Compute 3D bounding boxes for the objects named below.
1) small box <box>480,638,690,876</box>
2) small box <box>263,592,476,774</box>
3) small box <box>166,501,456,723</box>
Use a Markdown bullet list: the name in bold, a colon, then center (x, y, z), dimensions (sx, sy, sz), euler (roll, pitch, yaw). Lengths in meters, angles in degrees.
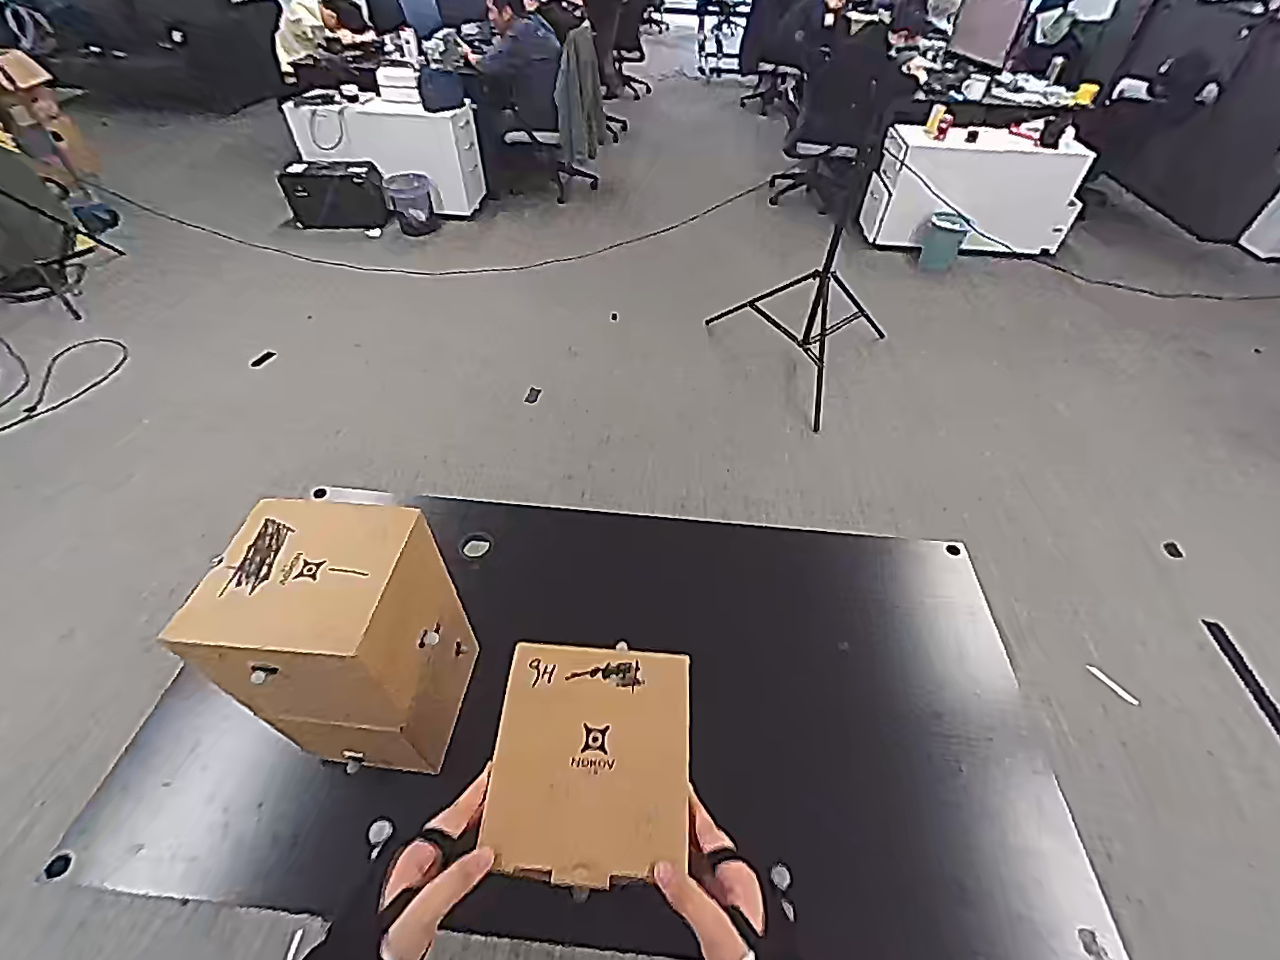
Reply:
- **small box**: center (-0.042, 0.273, 0.533), dimensions (0.168, 0.176, 0.179), euler (4, 55, -1)
- **small box**: center (-0.323, 0.253, 0.694), dimensions (0.168, 0.176, 0.179), euler (4, 48, 3)
- **small box**: center (-0.319, 0.141, 0.573), dimensions (0.179, 0.176, 0.168), euler (4, 47, 2)
